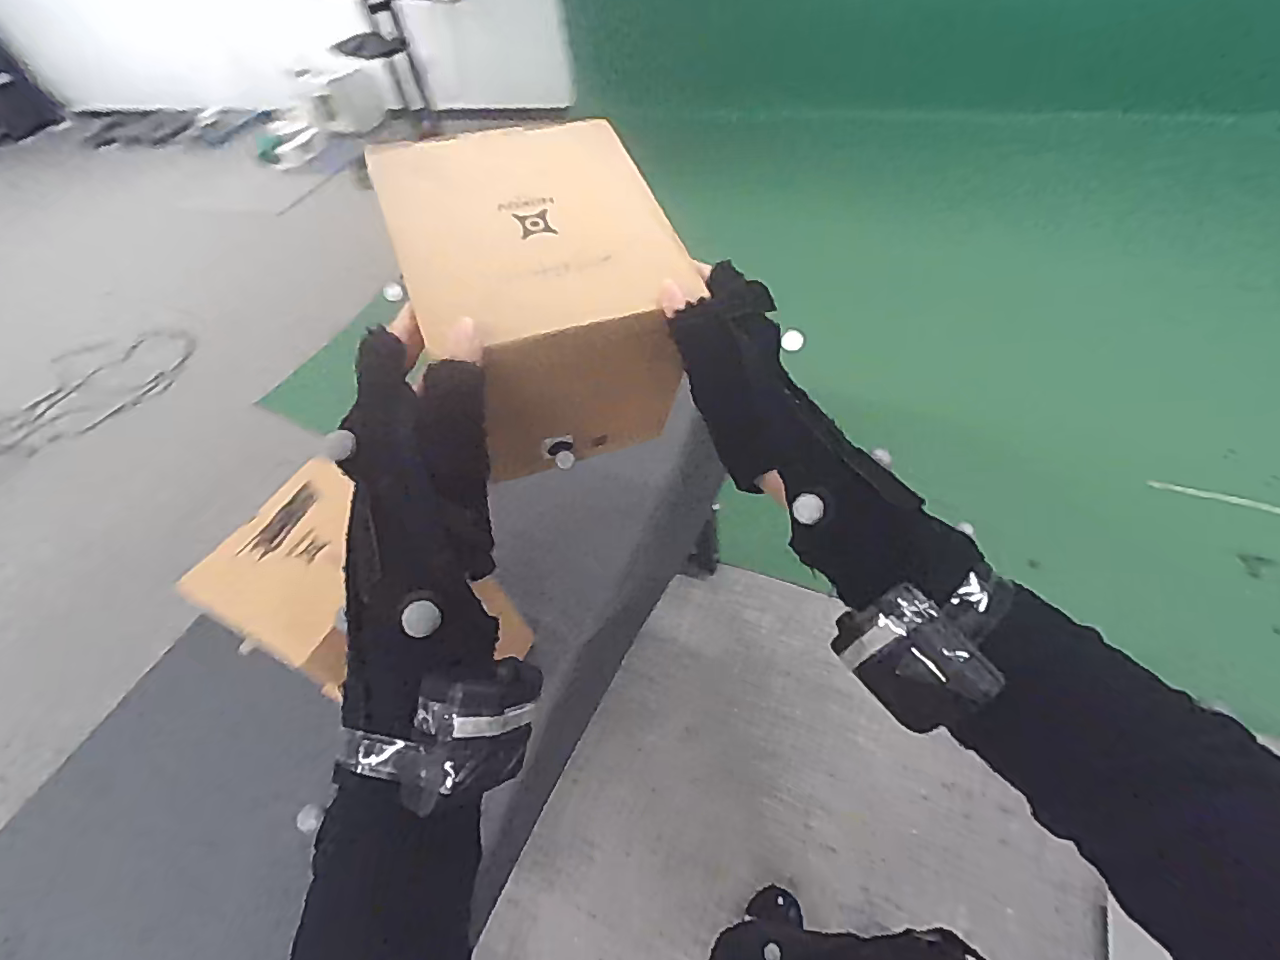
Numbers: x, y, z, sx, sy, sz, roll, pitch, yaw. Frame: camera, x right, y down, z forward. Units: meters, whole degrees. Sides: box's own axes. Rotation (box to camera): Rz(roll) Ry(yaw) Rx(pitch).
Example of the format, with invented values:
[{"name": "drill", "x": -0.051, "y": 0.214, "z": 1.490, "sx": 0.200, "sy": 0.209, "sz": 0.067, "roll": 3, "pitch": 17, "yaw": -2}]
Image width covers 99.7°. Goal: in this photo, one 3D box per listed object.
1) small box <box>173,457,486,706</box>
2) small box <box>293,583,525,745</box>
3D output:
[{"name": "small box", "x": -0.294, "y": 0.104, "z": 0.550, "sx": 0.179, "sy": 0.176, "sz": 0.168, "roll": 14, "pitch": 56, "yaw": 23}, {"name": "small box", "x": -0.271, "y": 0.204, "z": 0.679, "sx": 0.168, "sy": 0.176, "sz": 0.179, "roll": 17, "pitch": 59, "yaw": 23}]
